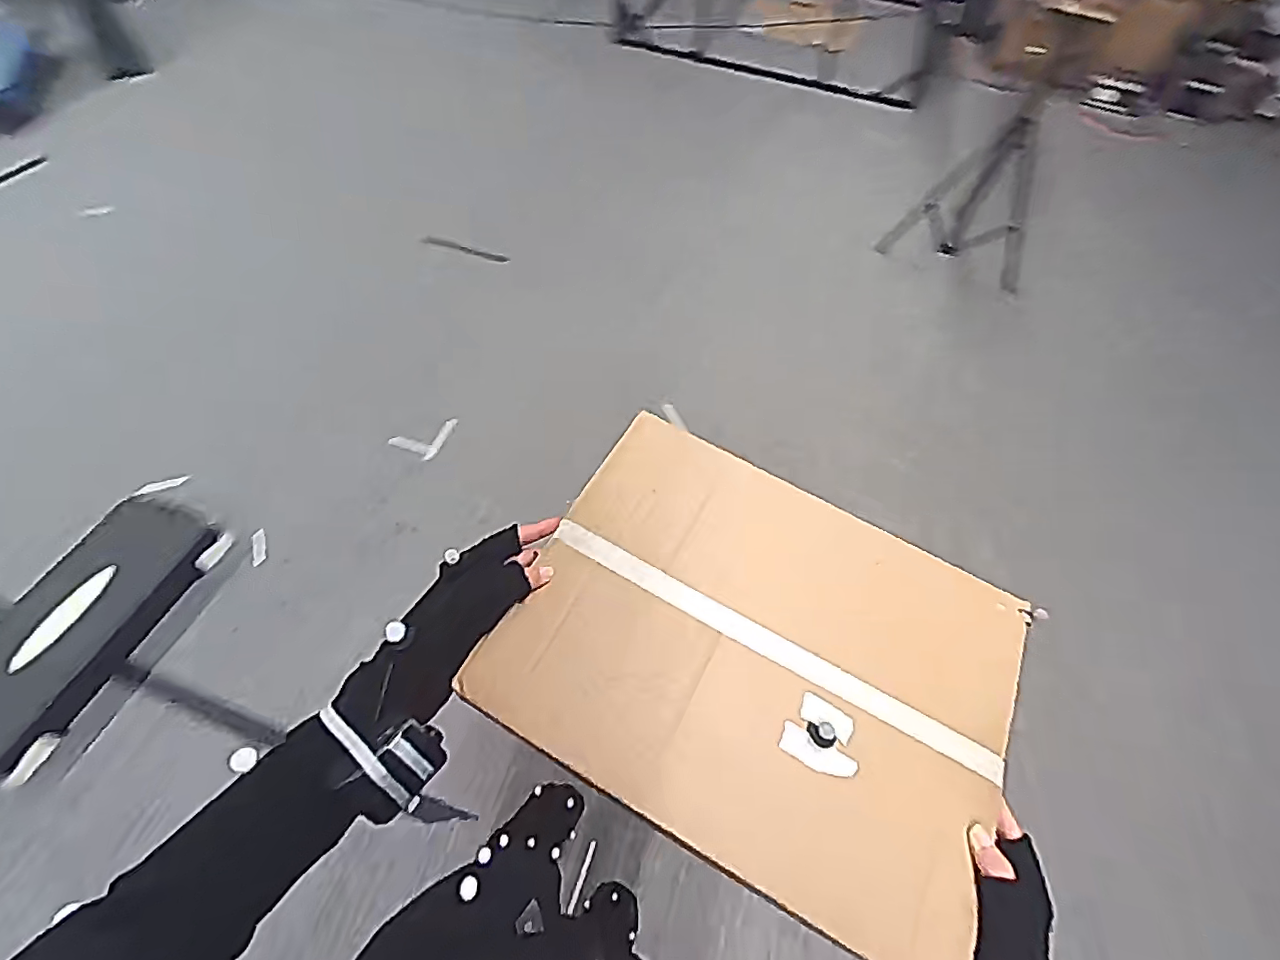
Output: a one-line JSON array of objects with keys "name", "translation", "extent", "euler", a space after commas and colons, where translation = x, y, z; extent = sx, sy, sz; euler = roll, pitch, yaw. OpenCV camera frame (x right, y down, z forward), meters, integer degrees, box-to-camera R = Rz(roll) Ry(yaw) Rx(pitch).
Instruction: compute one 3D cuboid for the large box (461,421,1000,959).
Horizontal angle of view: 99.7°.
[{"name": "large box", "translation": [0.083, 0.207, 0.597], "extent": [0.408, 0.320, 0.320], "euler": [27, 62, 9]}]
